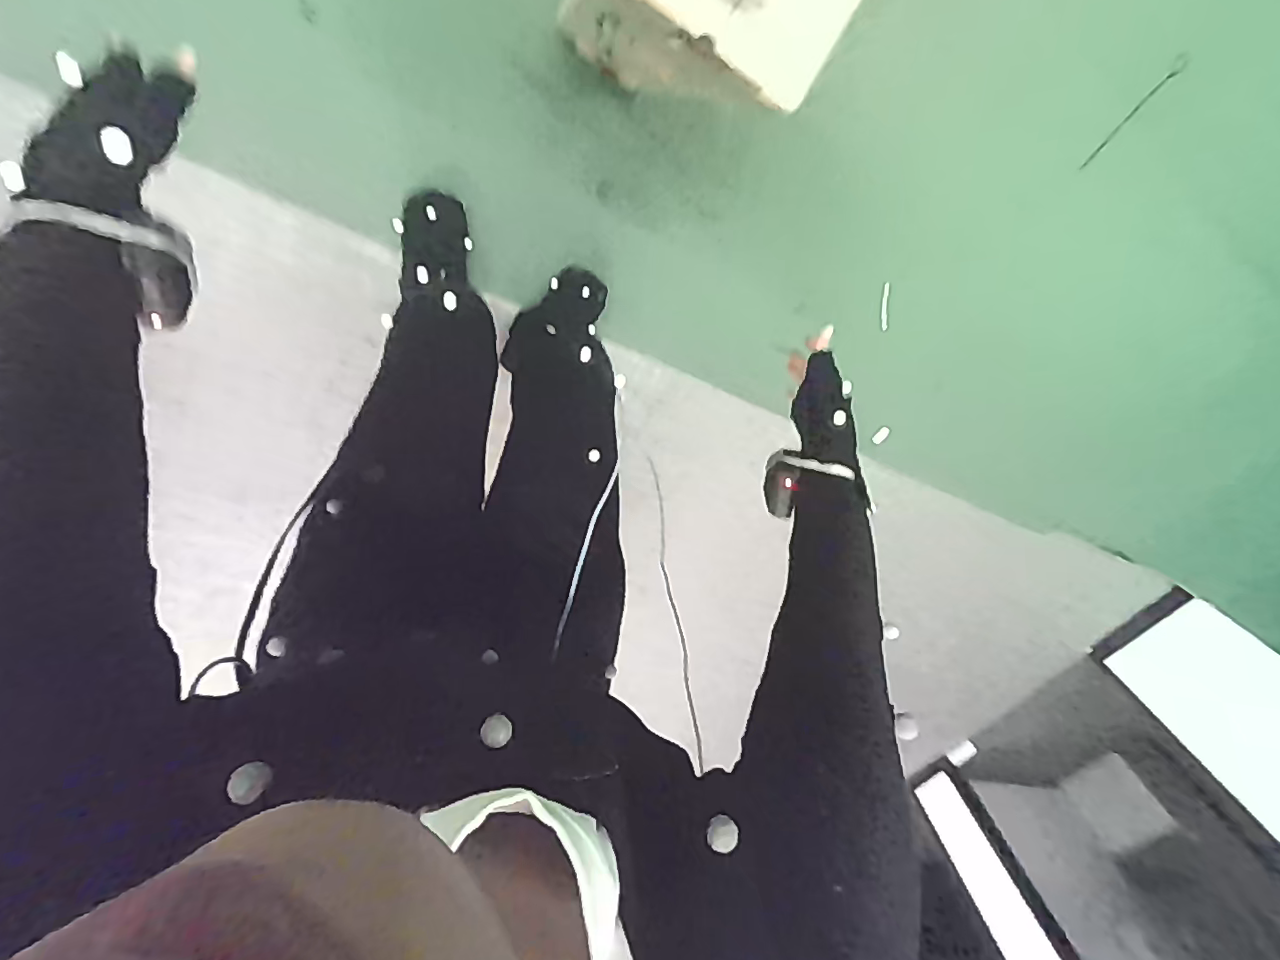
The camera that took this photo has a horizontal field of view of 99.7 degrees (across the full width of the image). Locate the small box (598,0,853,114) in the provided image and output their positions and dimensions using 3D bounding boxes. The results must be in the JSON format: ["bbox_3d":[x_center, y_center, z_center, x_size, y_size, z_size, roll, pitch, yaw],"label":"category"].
[{"bbox_3d":[0.072,-0.419,0.411,0.168,0.176,0.179,20,119,-25],"label":"small box"}]

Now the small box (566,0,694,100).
[{"bbox_3d":[0.016,-0.614,0.670,0.168,0.176,0.179,19,121,-25],"label":"small box"}]

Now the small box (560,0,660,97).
[{"bbox_3d":[-0.011,-0.709,0.800,0.168,0.176,0.179,21,119,-25],"label":"small box"}]
